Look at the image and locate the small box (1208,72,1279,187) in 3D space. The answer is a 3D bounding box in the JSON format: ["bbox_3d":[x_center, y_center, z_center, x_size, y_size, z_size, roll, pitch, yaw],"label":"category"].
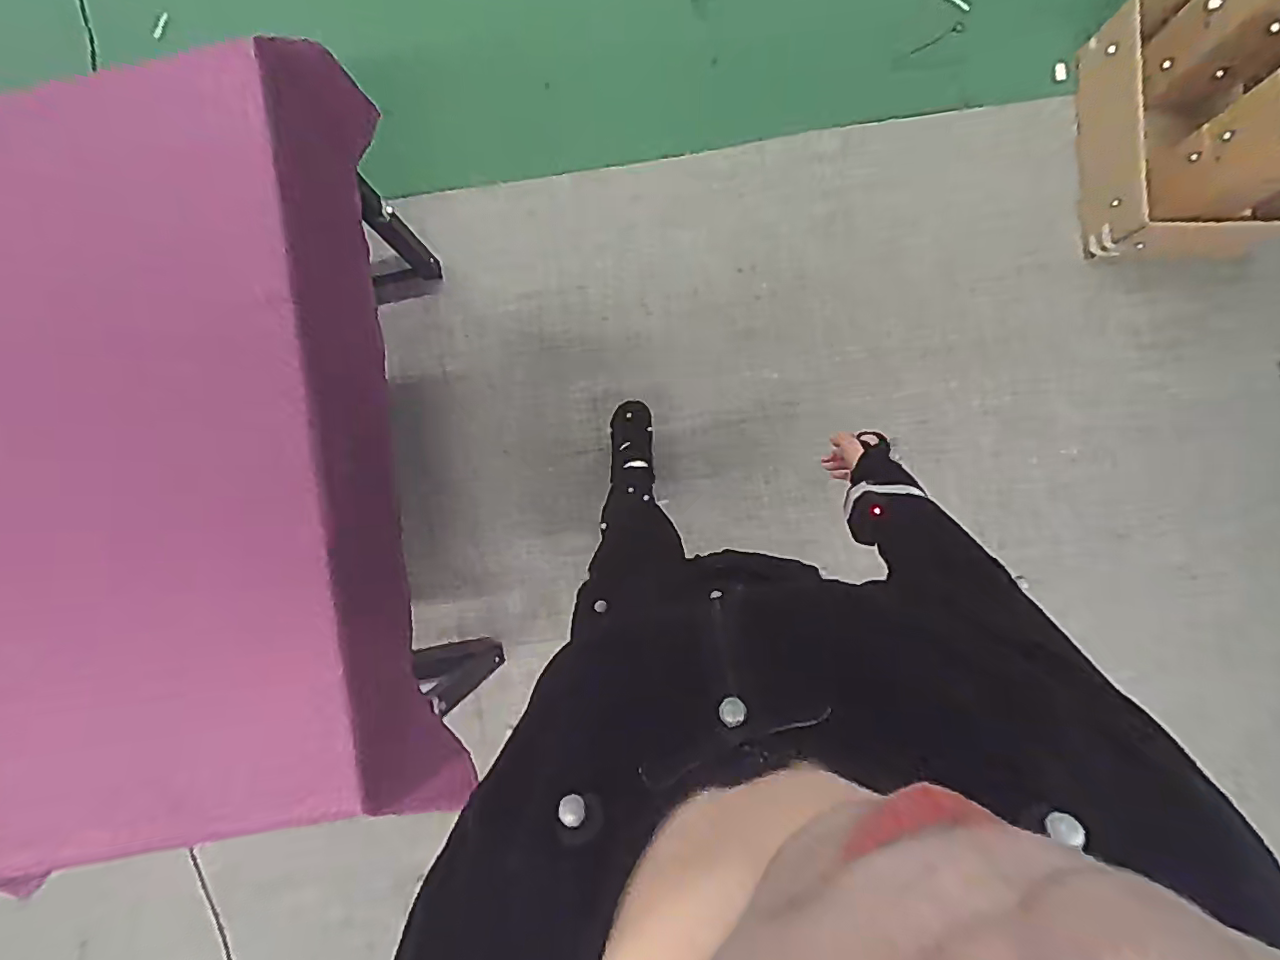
[{"bbox_3d":[1.419,-0.771,1.185,0.179,0.176,0.168,0,85,4],"label":"small box"}]

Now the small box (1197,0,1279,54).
[{"bbox_3d":[1.419,-1.095,1.207,0.179,0.176,0.168,4,88,5],"label":"small box"}]
